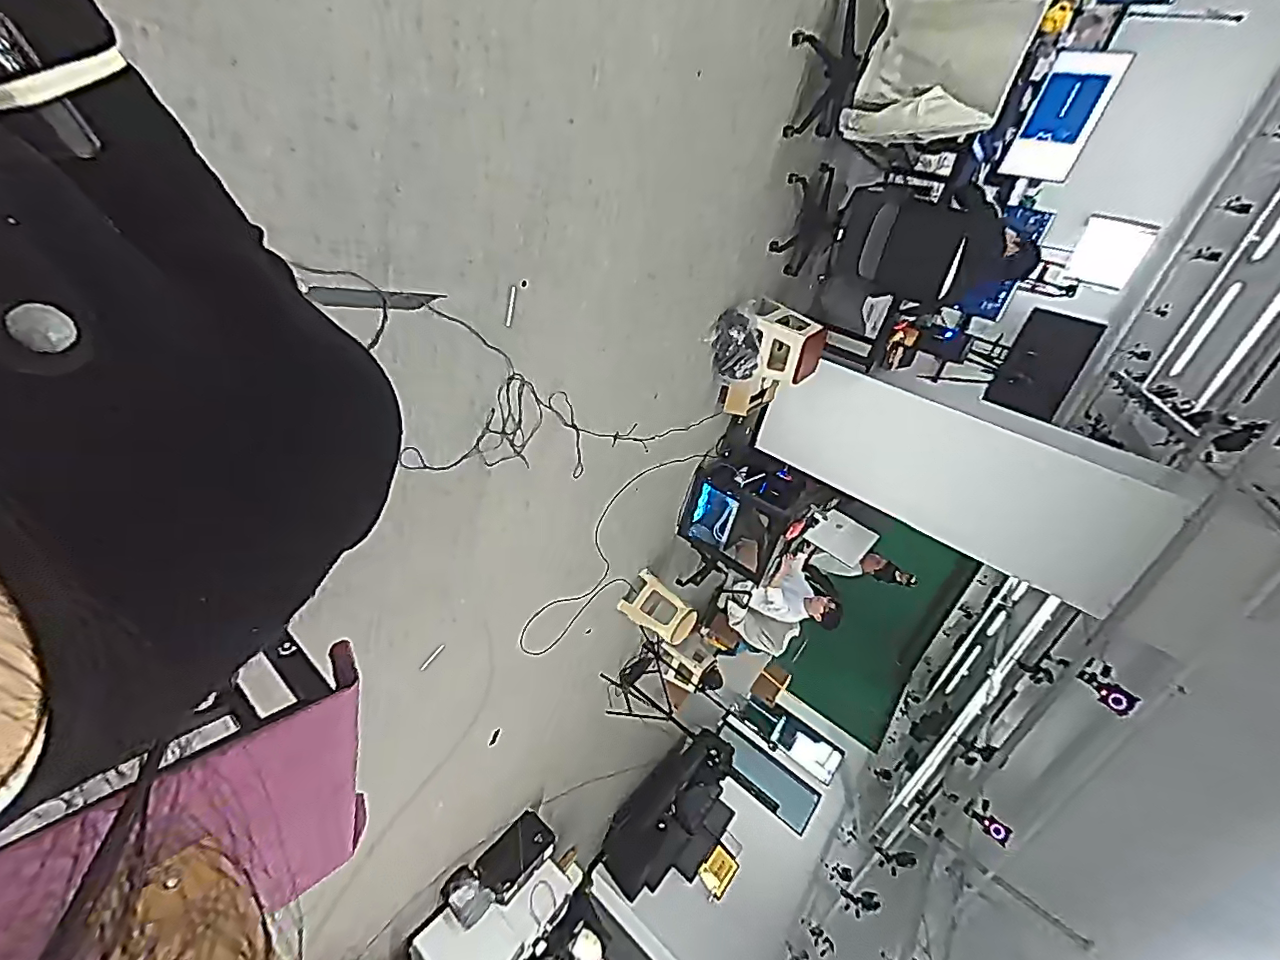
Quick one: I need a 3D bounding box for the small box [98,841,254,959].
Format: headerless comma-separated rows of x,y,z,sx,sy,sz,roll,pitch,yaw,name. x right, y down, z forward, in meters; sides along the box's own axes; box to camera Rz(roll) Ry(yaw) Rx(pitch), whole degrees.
-0.796,0.784,0.936,0.168,0.176,0.179,-18,131,-52,small box

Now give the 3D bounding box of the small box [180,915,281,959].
-0.670,0.857,0.860,0.168,0.176,0.179,-17,131,-52,small box
